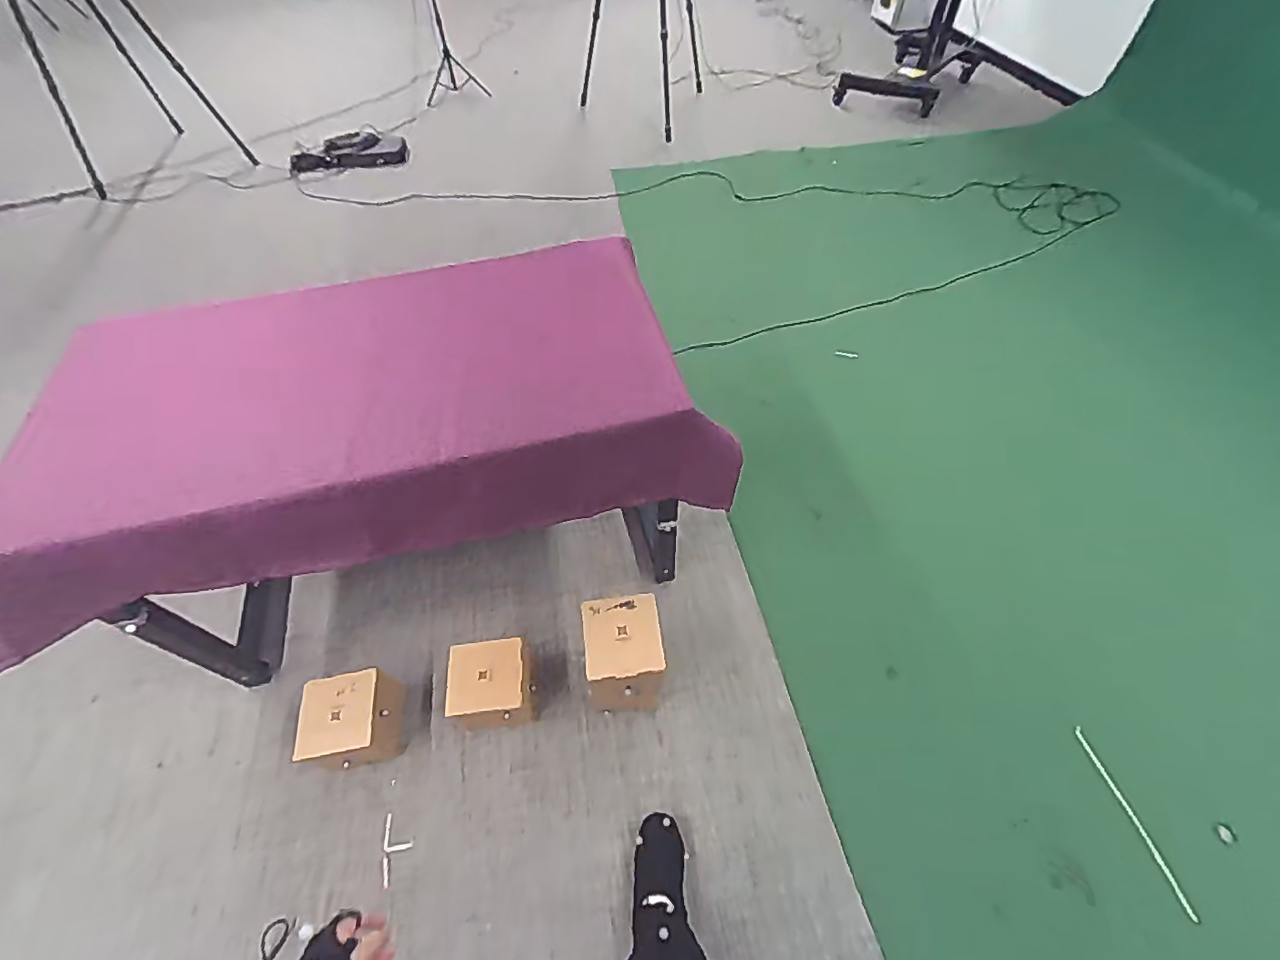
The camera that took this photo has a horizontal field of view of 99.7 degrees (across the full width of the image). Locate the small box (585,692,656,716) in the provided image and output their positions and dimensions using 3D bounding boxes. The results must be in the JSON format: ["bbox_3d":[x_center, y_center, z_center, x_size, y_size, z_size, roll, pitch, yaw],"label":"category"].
[{"bbox_3d":[-0.046,0.484,1.353,0.168,0.176,0.179,-3,52,-1],"label":"small box"}]

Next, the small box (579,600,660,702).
[{"bbox_3d":[-0.044,0.391,1.217,0.168,0.176,0.179,-6,54,-3],"label":"small box"}]
